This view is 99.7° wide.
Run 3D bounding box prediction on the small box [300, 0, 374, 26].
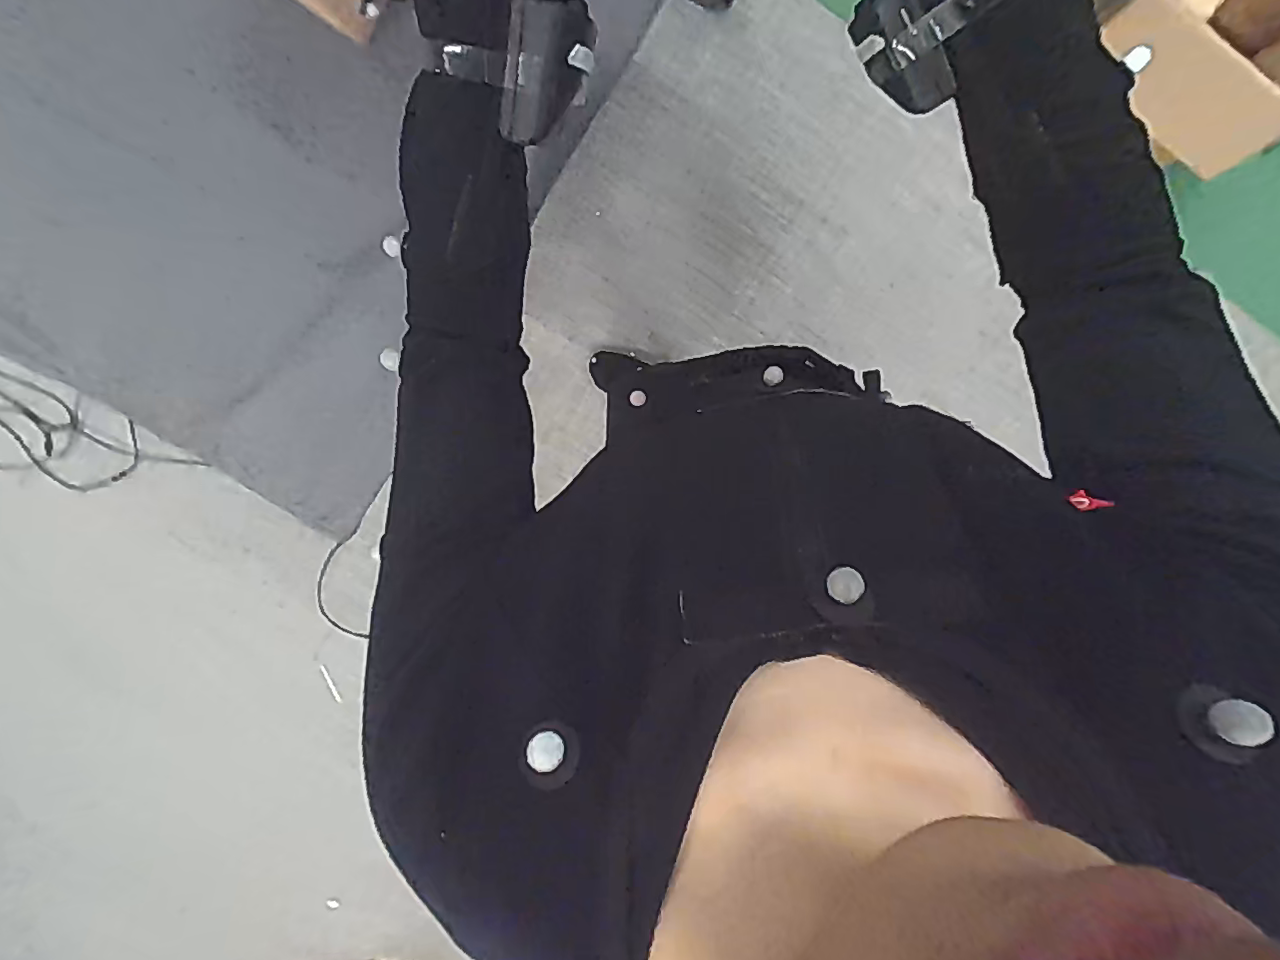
[{"bbox_3d":[-0.335,-0.575,0.495,0.179,0.176,0.168,33,104,-7],"label":"small box"}]
